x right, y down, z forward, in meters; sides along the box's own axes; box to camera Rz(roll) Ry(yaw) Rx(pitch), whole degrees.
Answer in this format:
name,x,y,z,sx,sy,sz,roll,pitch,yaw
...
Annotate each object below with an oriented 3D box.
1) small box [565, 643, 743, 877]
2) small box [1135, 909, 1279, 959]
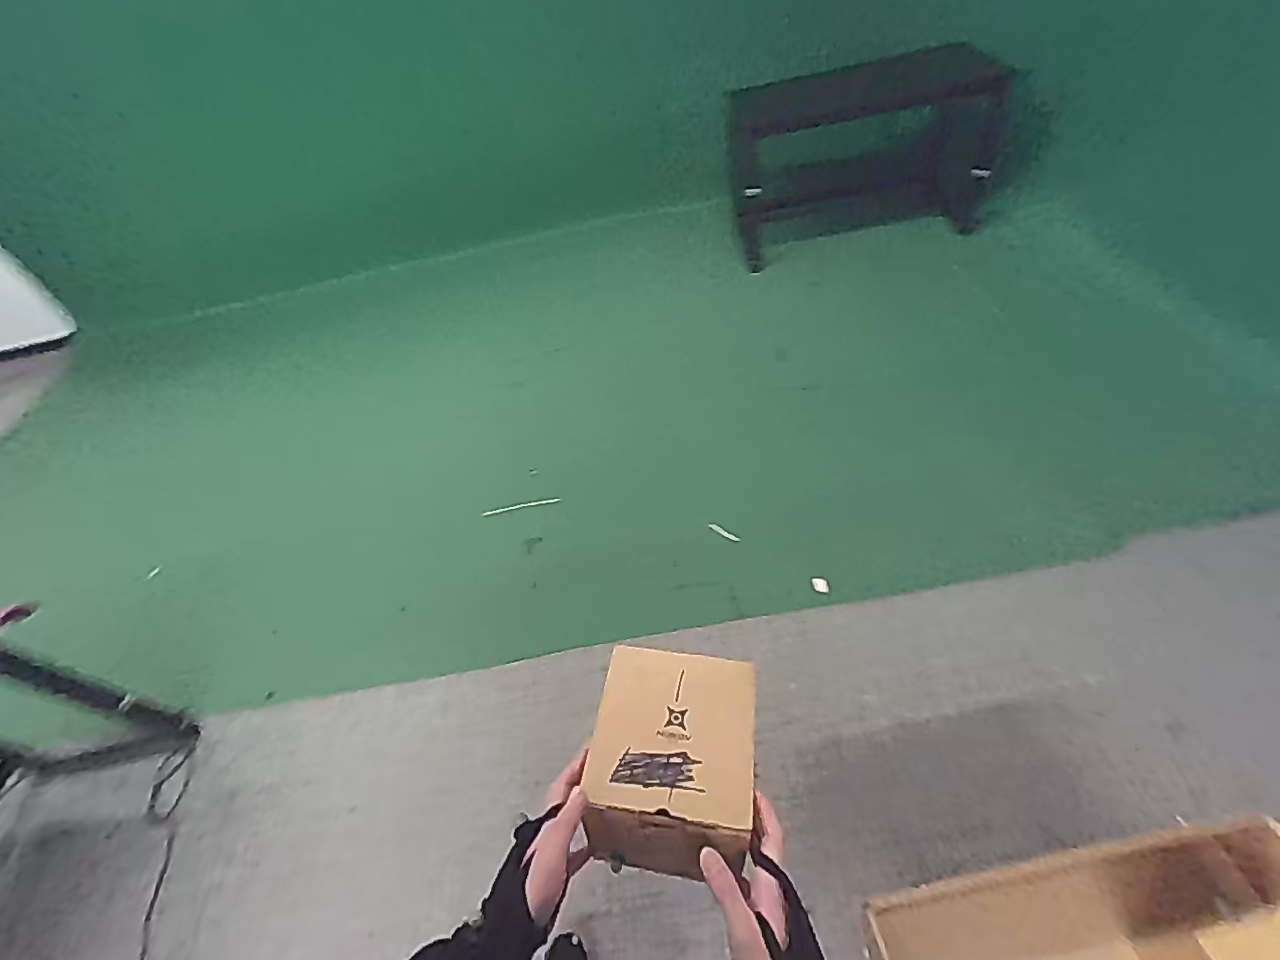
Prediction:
name,x,y,z,sx,sy,sz,roll,pitch,yaw
small box,0.026,0.313,0.608,0.168,0.176,0.179,4,39,8
small box,0.823,0.692,0.705,0.168,0.176,0.179,-15,48,-2
